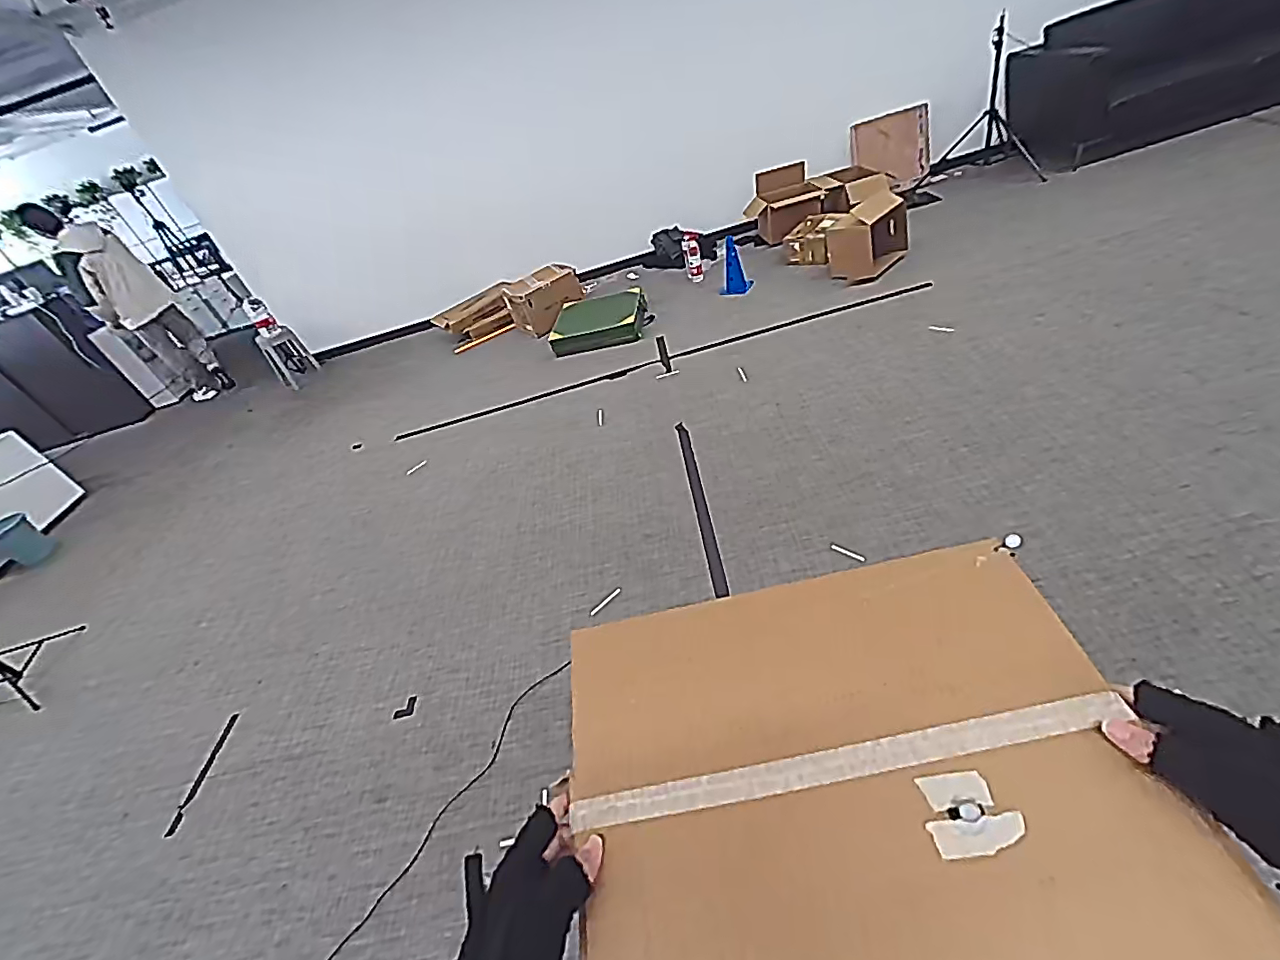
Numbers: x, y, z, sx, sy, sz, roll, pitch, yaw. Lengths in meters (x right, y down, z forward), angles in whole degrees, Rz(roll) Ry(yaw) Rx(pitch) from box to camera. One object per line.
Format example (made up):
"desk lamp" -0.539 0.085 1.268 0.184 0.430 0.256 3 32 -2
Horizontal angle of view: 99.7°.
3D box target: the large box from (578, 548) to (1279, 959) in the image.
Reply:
"large box" 0.182 0.318 0.511 0.408 0.320 0.320 -14 45 3
